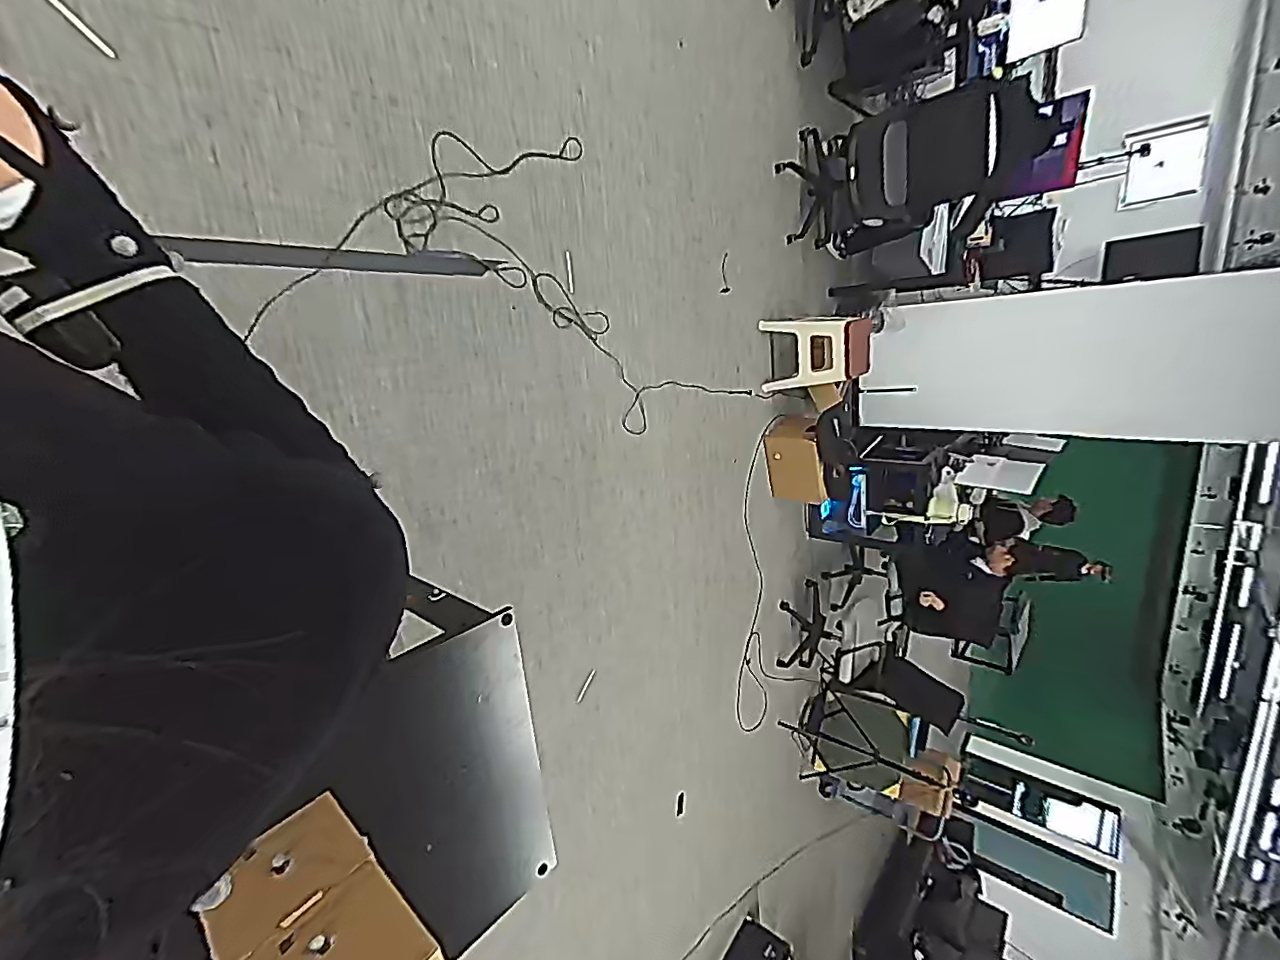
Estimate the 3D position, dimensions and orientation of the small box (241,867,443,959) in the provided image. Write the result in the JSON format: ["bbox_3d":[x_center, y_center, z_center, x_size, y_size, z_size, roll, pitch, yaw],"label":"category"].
[{"bbox_3d":[-0.312,0.580,0.586,0.168,0.176,0.179,-28,116,-43],"label":"small box"}]

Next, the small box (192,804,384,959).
[{"bbox_3d":[-0.436,0.559,0.695,0.168,0.176,0.179,-26,114,-44],"label":"small box"}]
